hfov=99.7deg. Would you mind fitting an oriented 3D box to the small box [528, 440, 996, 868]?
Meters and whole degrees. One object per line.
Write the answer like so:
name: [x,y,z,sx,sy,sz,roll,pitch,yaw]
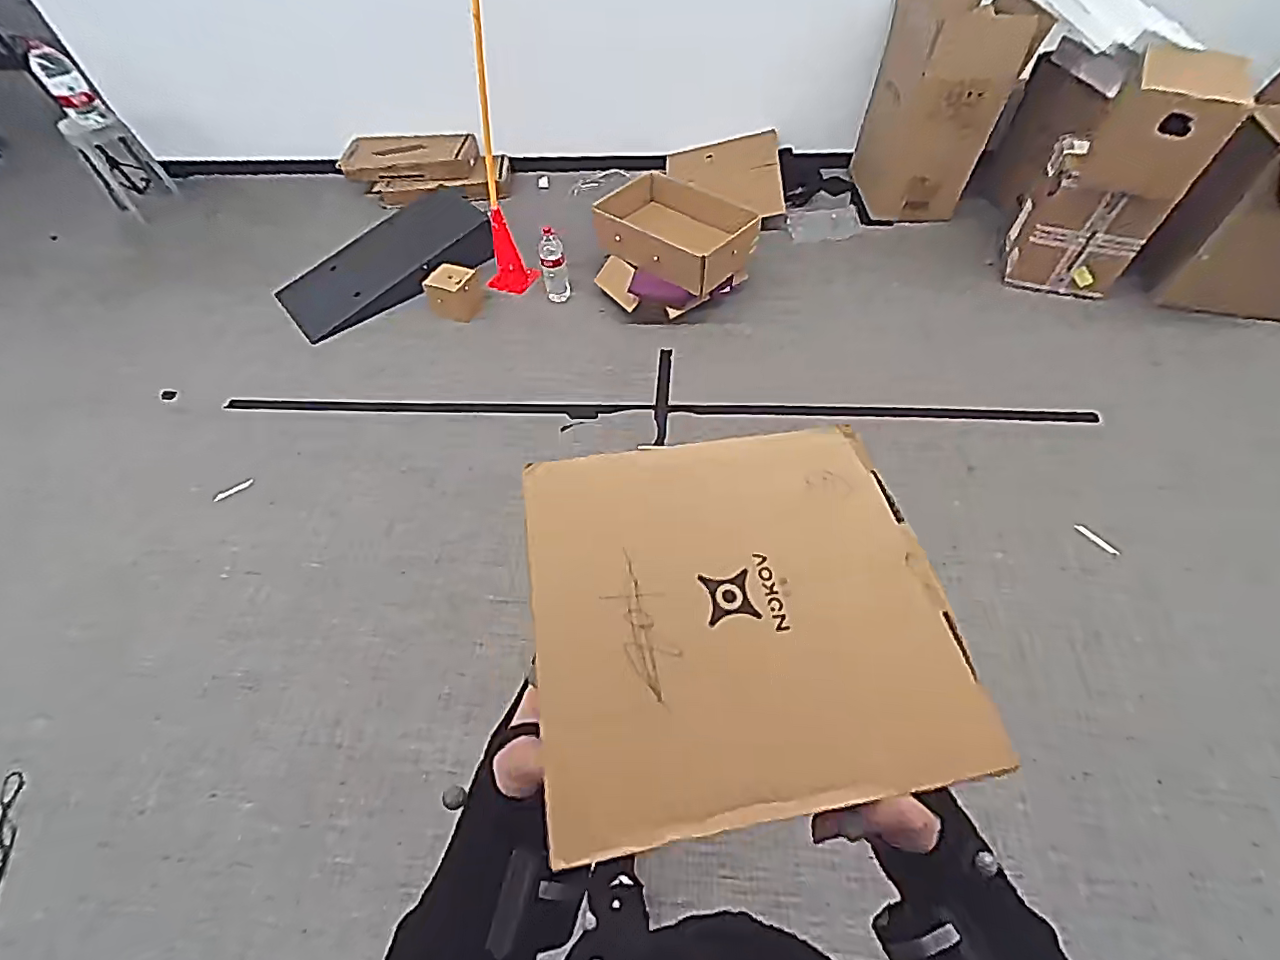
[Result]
small box: [0.039,0.100,0.308,0.179,0.176,0.168,-8,57,-7]
